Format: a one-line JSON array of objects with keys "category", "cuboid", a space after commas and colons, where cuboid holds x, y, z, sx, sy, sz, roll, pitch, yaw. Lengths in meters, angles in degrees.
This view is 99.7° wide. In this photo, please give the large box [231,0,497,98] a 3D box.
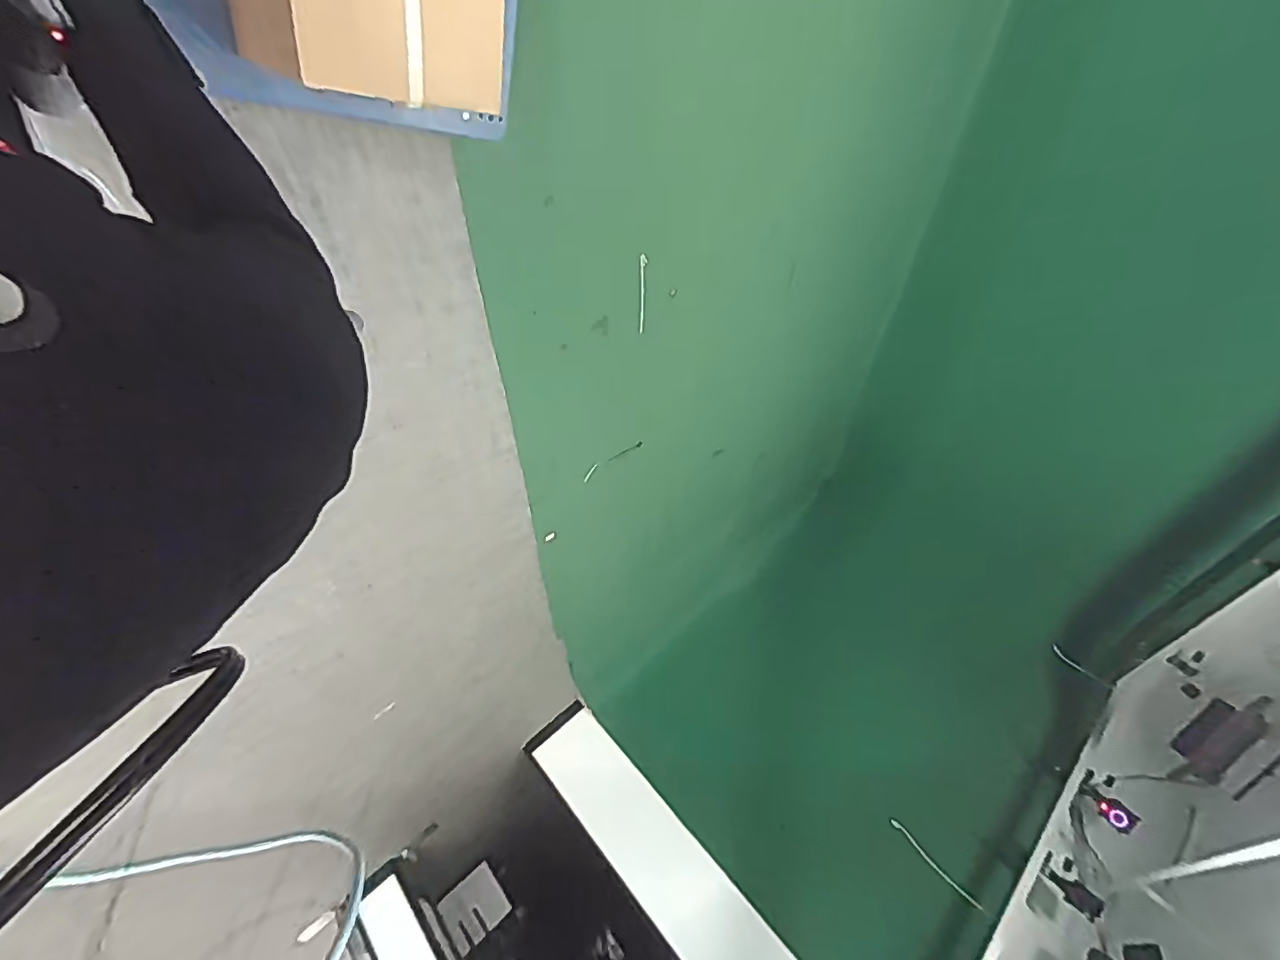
[{"category": "large box", "cuboid": [-0.424, -0.843, 0.798, 0.320, 0.320, 0.408, -23, 138, -39]}]
